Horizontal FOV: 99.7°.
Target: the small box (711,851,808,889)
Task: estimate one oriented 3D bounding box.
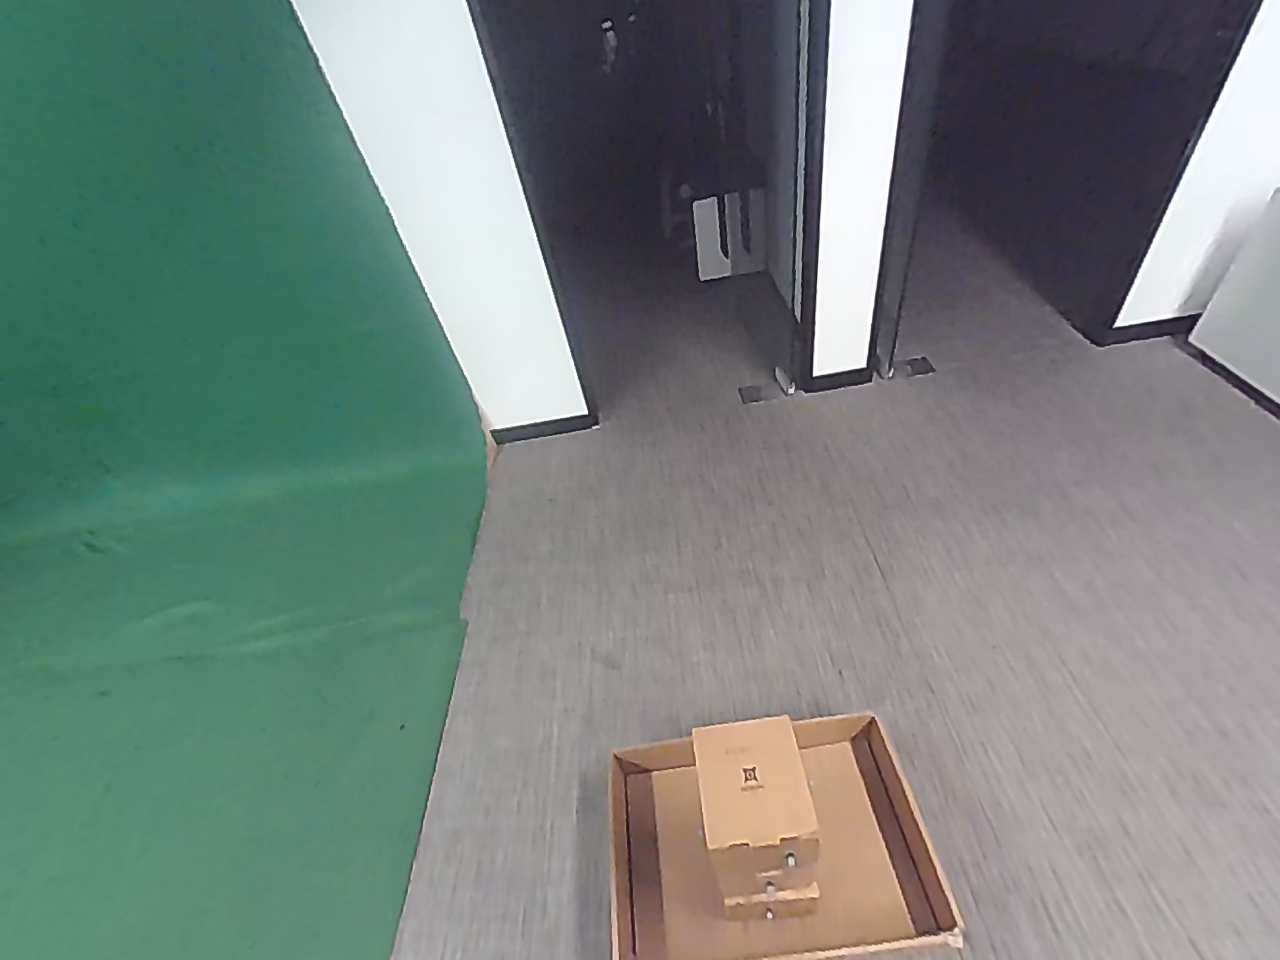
[{"bbox_3d":[0.212,0.645,1.019,0.168,0.176,0.179,-13,41,3],"label":"small box"}]

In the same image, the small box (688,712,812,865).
[{"bbox_3d":[0.179,0.515,0.896,0.168,0.176,0.179,-9,41,3],"label":"small box"}]

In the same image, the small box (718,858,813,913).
[{"bbox_3d":[0.248,0.770,1.113,0.179,0.176,0.168,-9,41,7],"label":"small box"}]
